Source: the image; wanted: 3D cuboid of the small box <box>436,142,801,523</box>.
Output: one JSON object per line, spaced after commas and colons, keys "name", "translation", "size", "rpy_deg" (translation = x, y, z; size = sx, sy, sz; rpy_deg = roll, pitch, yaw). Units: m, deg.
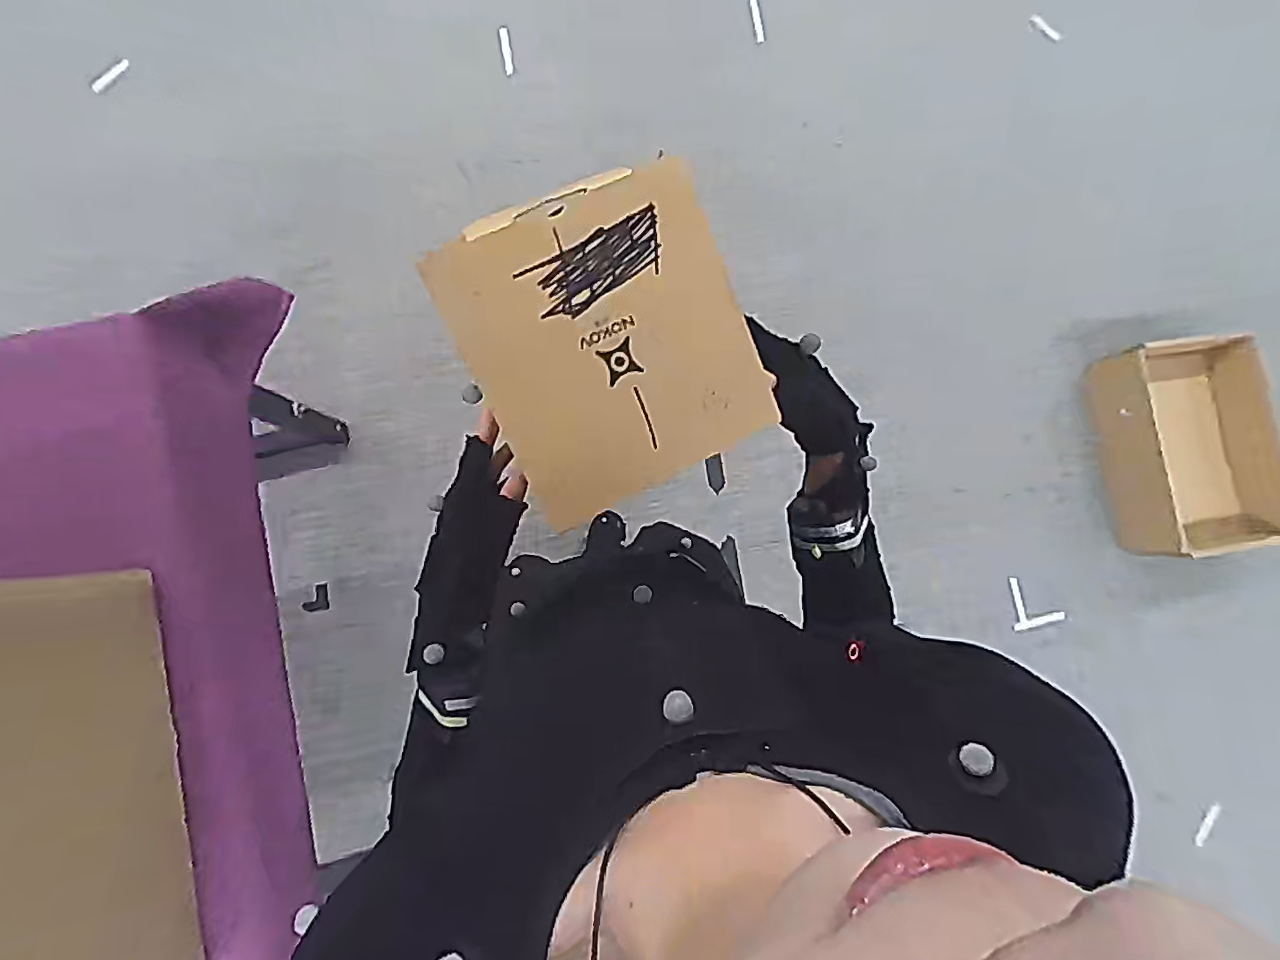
{"name": "small box", "translation": [-0.021, -0.092, 0.393], "size": [0.168, 0.176, 0.179], "rpy_deg": [-27, 101, -6]}
